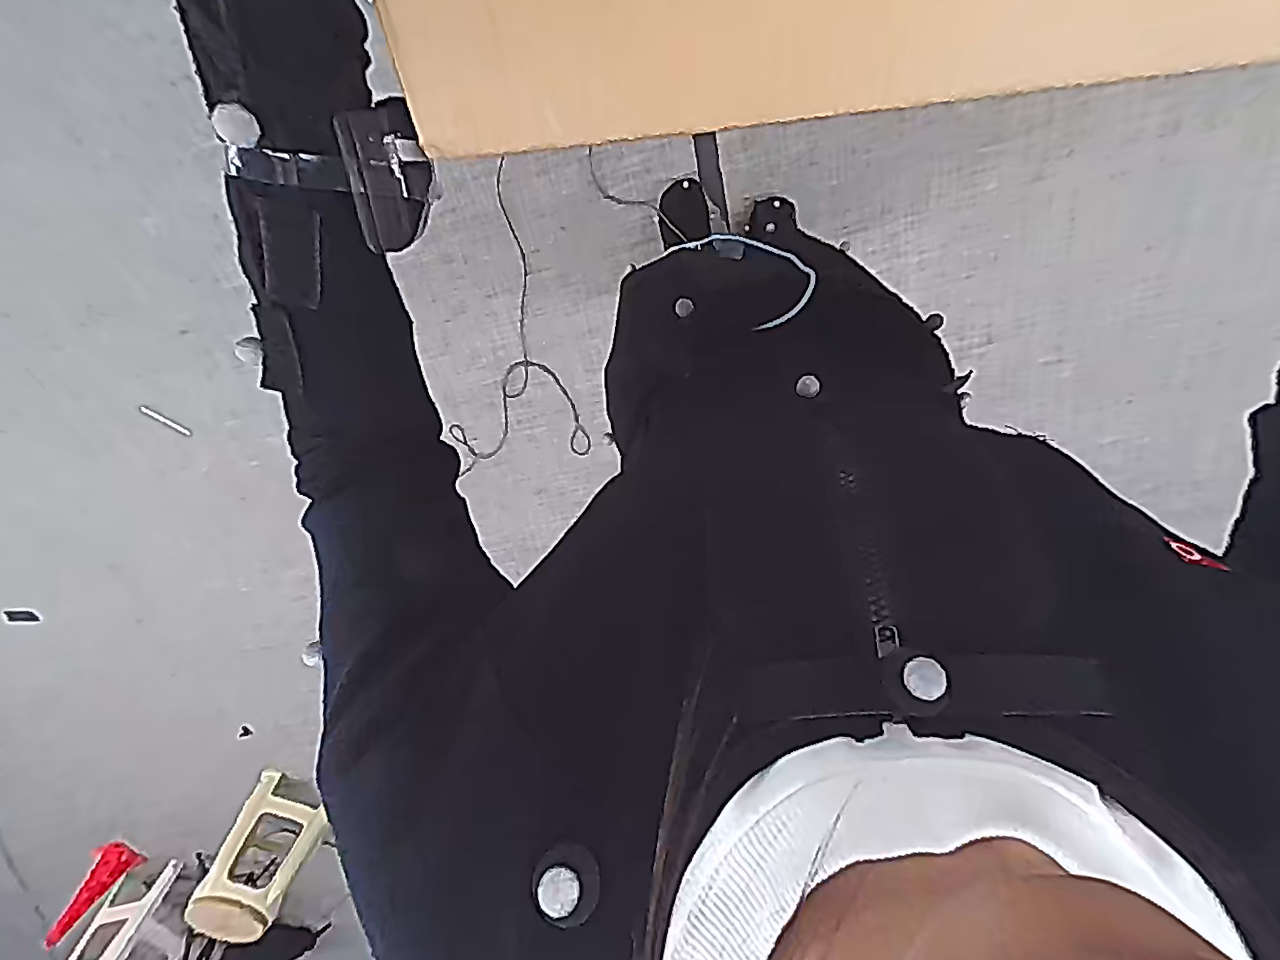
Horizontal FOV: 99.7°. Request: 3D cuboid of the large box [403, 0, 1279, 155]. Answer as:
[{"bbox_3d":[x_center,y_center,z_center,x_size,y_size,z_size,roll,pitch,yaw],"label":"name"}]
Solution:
[{"bbox_3d":[0.089,-0.383,0.266,0.408,0.320,0.320,-4,128,6],"label":"large box"}]
